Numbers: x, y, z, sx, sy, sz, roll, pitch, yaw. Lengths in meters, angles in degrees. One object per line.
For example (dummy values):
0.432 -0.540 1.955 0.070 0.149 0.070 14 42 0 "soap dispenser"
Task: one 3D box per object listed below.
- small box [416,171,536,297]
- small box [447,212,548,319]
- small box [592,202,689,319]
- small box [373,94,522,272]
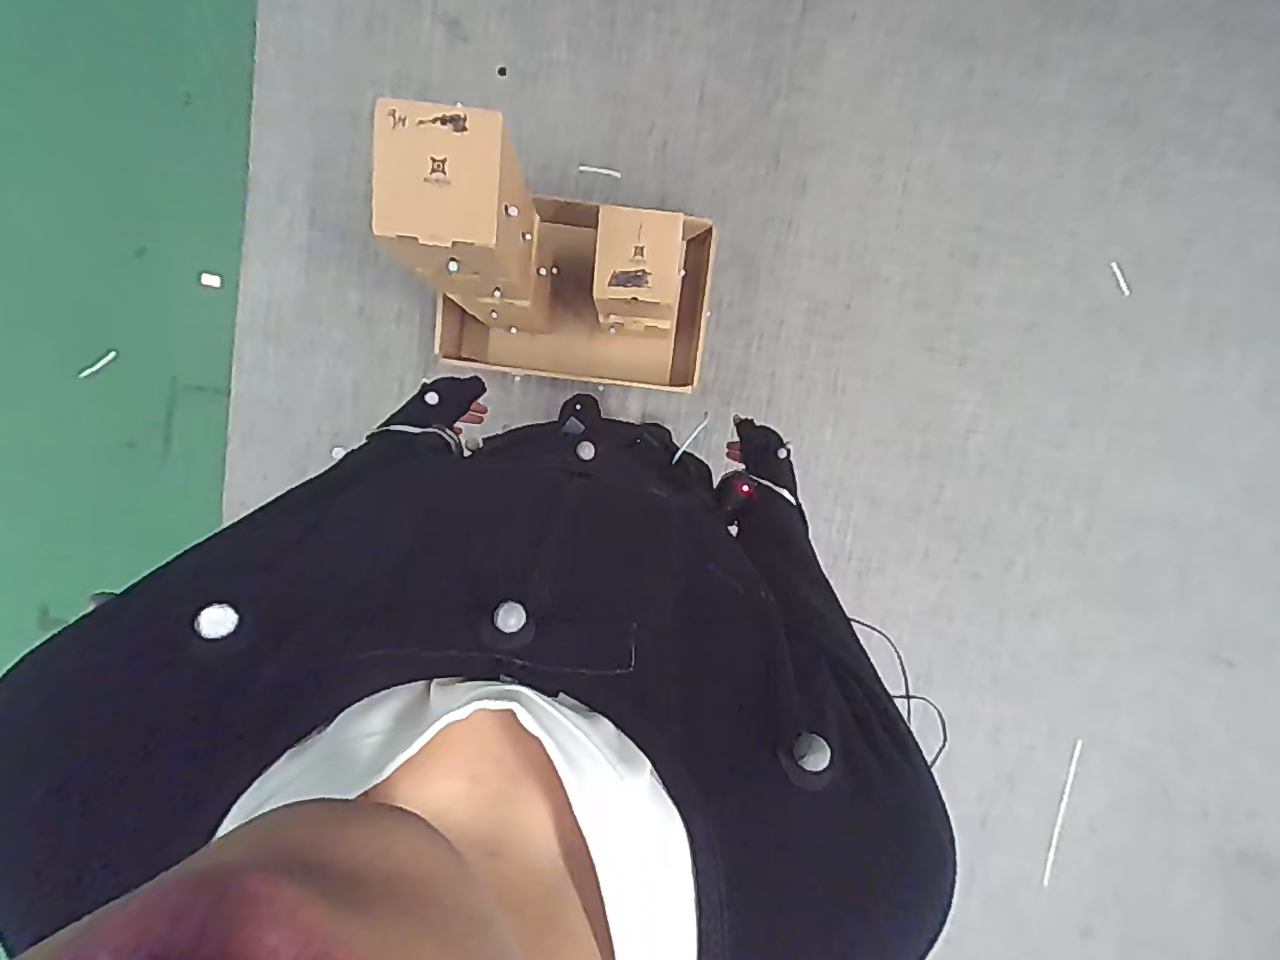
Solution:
-0.279 -0.432 0.952 0.168 0.176 0.179 5 96 -4 "small box"
-0.286 -0.445 1.115 0.168 0.176 0.179 7 97 -4 "small box"
-0.001 -0.442 1.118 0.168 0.176 0.179 8 97 -3 "small box"
-0.270 -0.416 0.790 0.168 0.176 0.179 5 97 -5 "small box"
